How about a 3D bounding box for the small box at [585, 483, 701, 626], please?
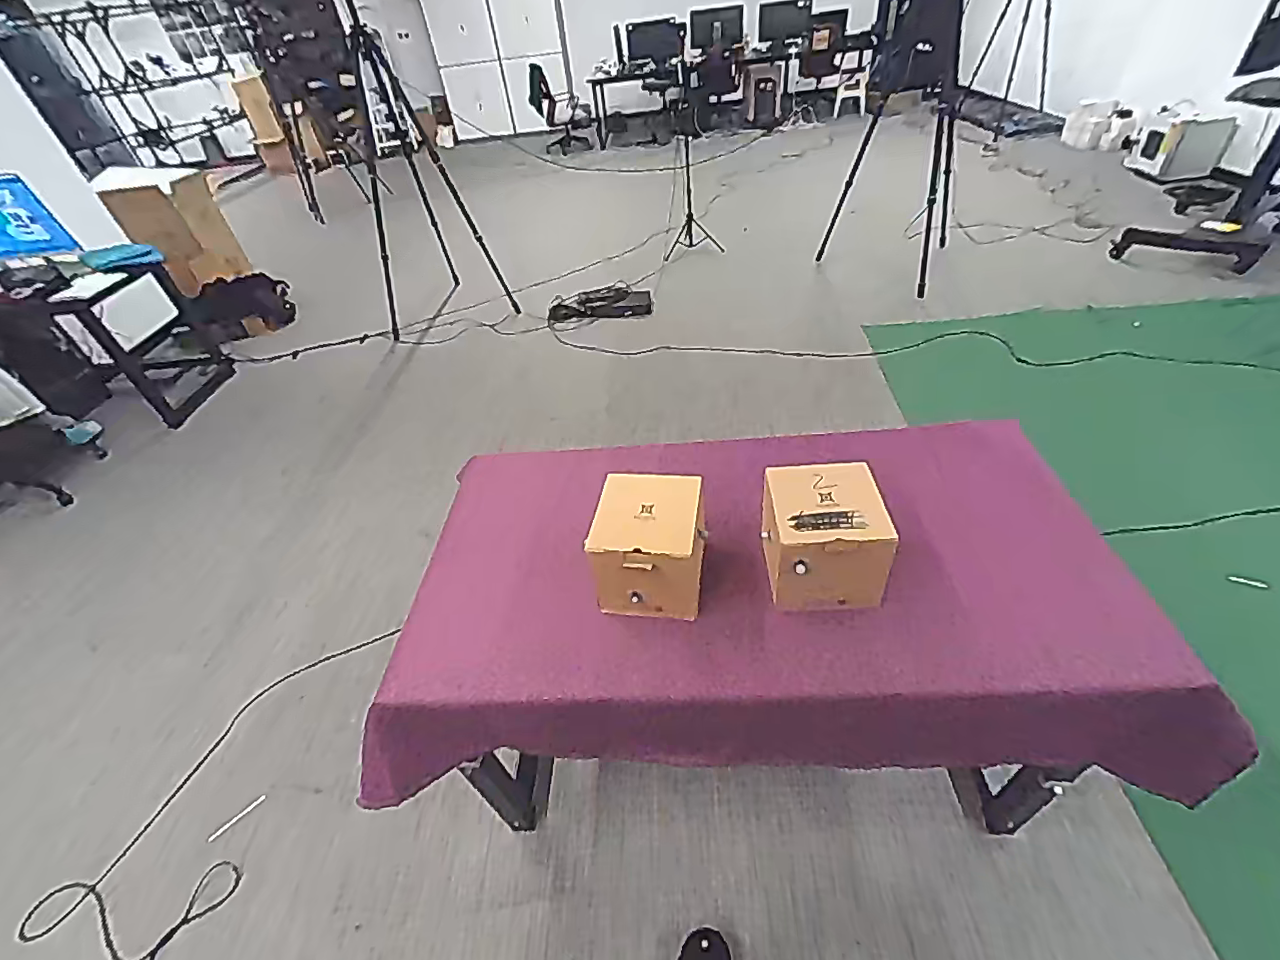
[{"bbox_3d":[0.015,0.126,0.931,0.168,0.176,0.179,2,43,11],"label":"small box"}]
